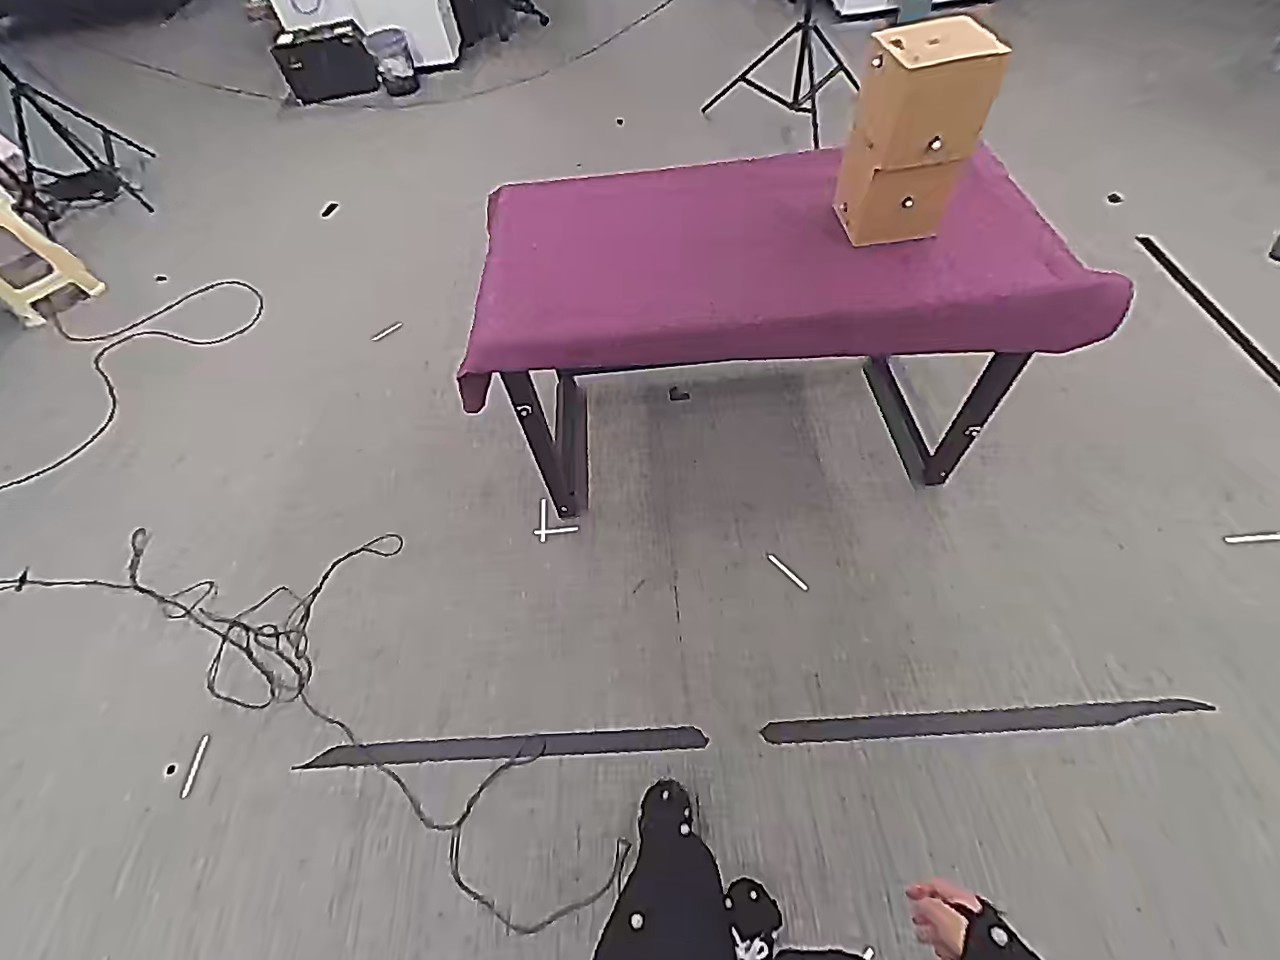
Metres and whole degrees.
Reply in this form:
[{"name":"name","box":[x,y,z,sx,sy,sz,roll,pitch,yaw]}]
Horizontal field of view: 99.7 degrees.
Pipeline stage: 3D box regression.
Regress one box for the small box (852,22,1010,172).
[{"name":"small box","box":[0.516,-0.697,0.990,0.179,0.176,0.168,-9,56,0]}]
